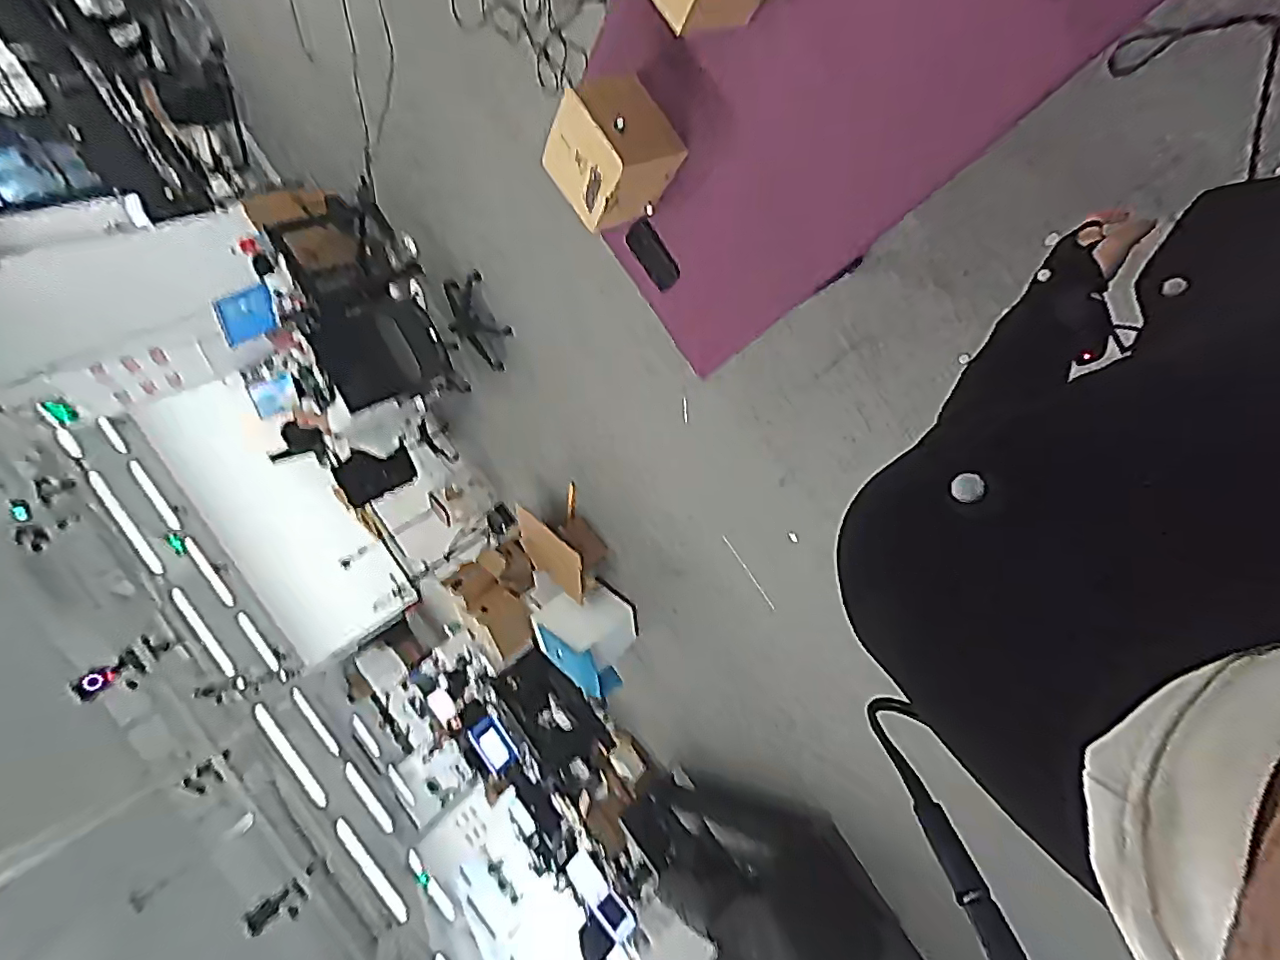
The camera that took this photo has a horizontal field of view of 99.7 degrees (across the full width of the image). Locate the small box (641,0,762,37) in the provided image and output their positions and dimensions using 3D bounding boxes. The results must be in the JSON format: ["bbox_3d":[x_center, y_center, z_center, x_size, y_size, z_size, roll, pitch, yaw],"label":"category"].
[{"bbox_3d":[0.085,-0.740,0.720,0.179,0.176,0.168,54,149,0],"label":"small box"}]

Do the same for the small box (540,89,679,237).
[{"bbox_3d":[-0.057,-0.606,1.029,0.179,0.176,0.168,55,148,1],"label":"small box"}]
